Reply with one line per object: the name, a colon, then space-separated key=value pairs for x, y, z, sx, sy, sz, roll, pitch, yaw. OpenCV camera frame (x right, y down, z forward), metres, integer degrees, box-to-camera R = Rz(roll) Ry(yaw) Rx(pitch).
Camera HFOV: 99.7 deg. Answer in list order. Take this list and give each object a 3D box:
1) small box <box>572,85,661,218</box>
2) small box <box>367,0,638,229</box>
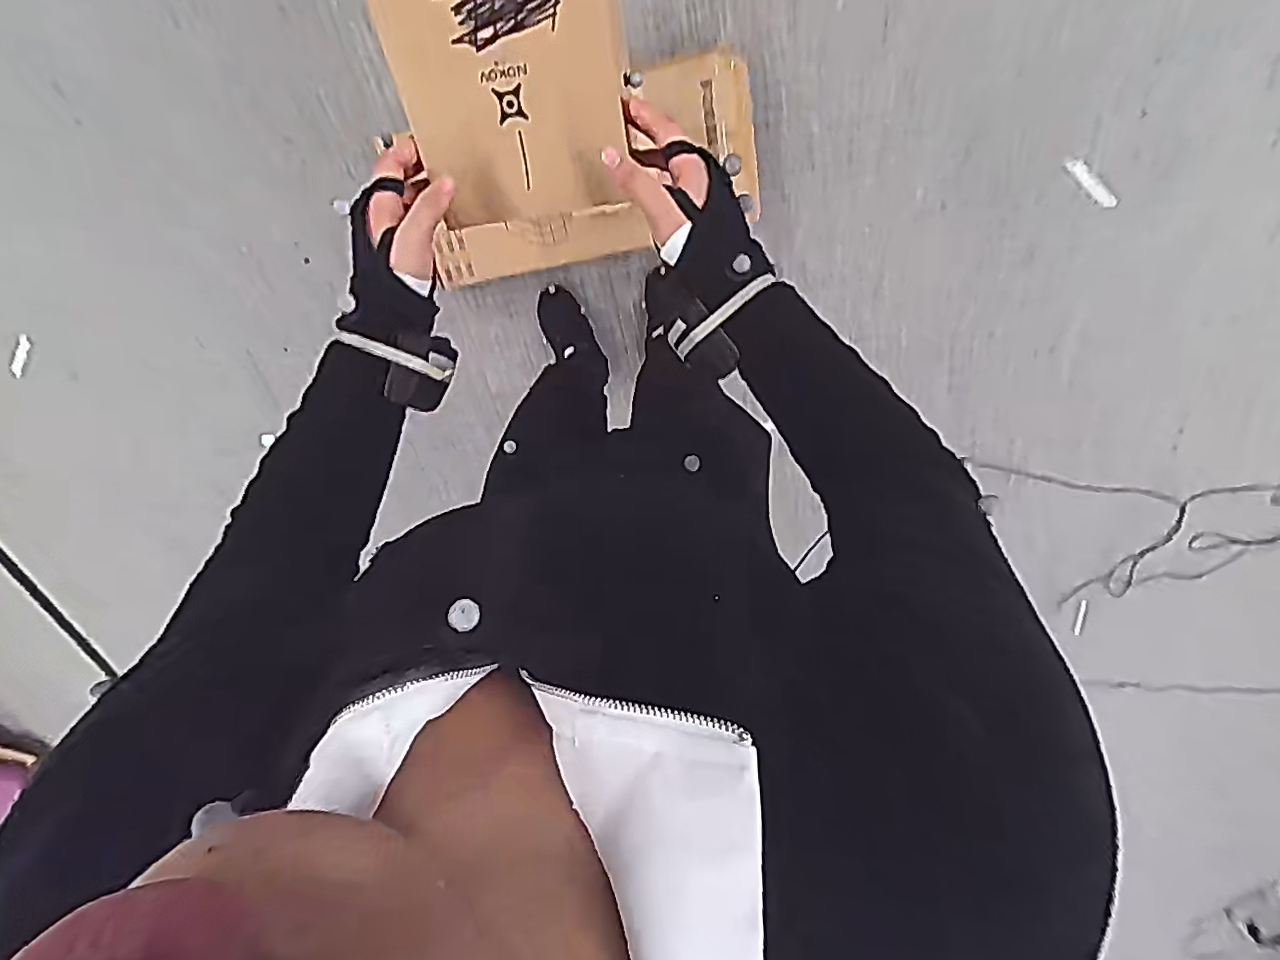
small box: x=-0.058 y=-0.602 z=1.011 sx=0.168 sy=0.176 sz=0.179 roll=-10 pitch=117 yaw=6
small box: x=-0.094 y=-0.332 z=0.455 sx=0.168 sy=0.176 sz=0.179 roll=-5 pitch=127 yaw=6
